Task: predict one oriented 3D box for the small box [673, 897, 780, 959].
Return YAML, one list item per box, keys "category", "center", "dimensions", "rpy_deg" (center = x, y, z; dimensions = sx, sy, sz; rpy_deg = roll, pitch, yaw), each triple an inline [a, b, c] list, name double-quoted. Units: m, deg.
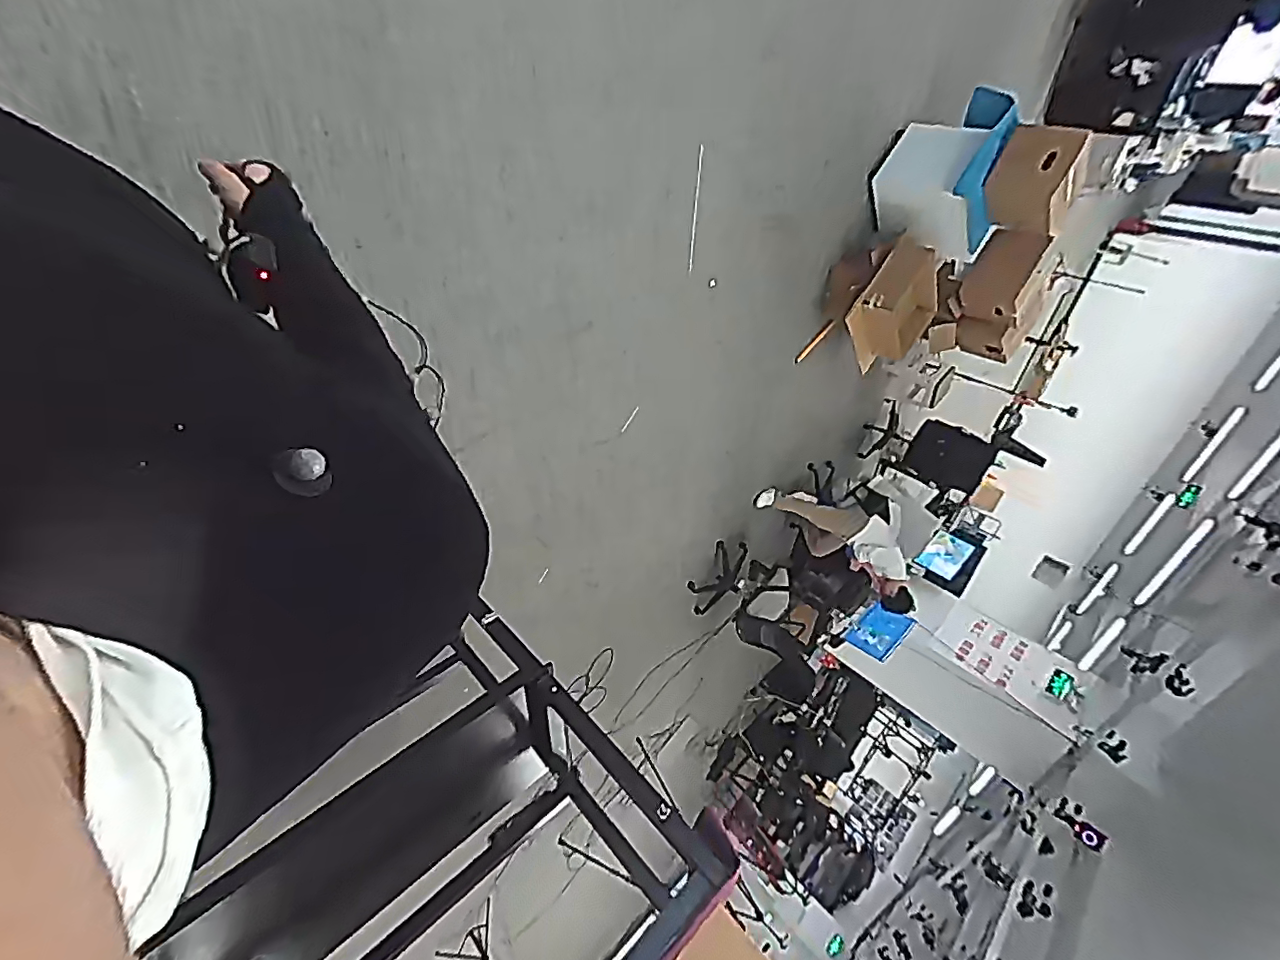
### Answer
- category: "small box"
  center: [0.182, 1.098, 1.218]
  dimensions: [0.179, 0.176, 0.168]
  rpy_deg: [-28, 137, -34]
